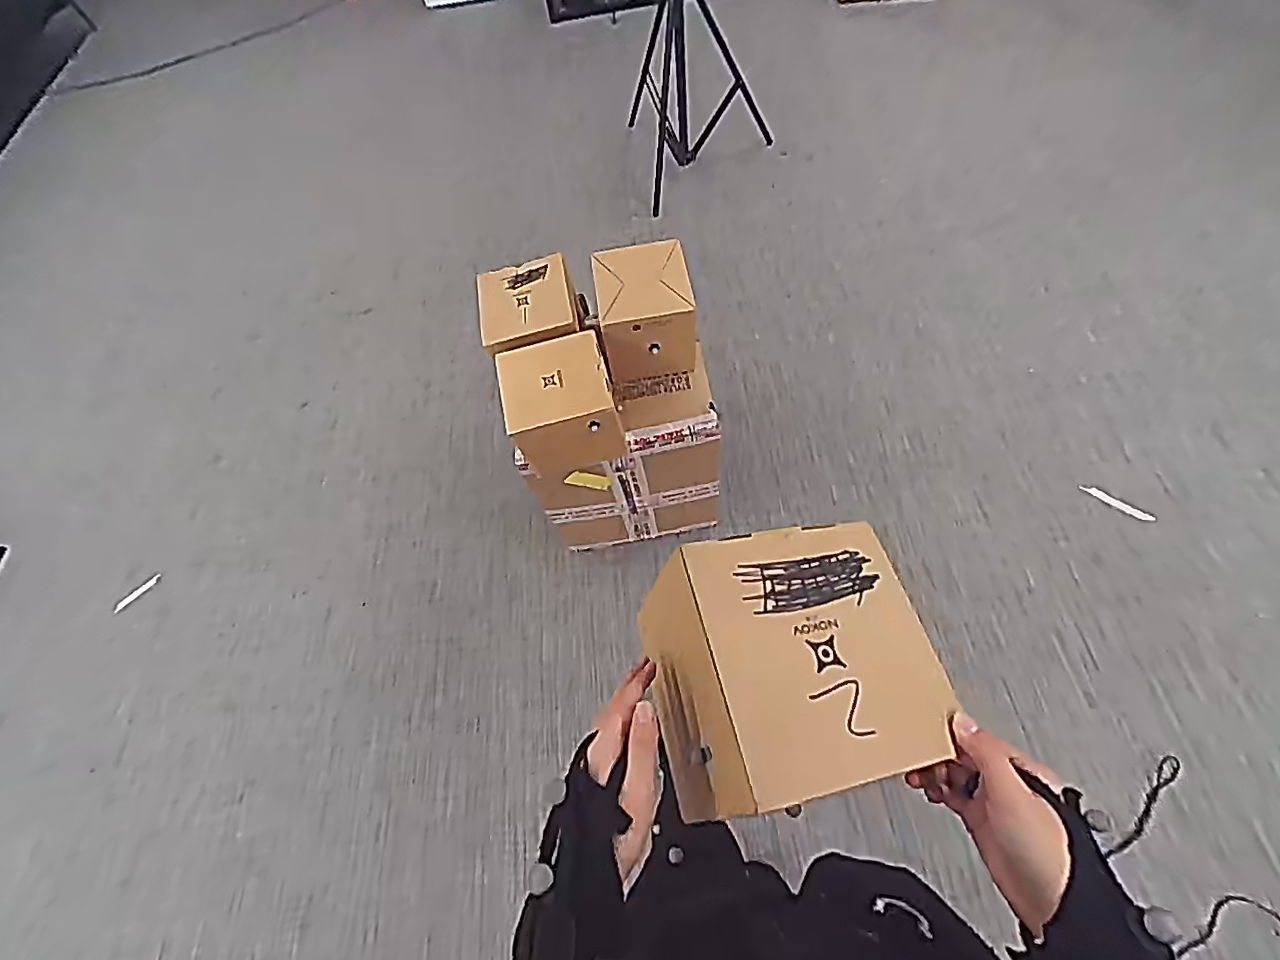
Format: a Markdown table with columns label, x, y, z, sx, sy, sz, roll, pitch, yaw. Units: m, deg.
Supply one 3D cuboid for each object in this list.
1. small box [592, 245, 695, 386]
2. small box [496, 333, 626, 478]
| label | x | y | z | sx | sy | sz | roll | pitch | yaw |
| --- | --- | --- | --- | --- | --- | --- | --- | --- | --- |
| small box | 0.008 | -0.308 | 1.019 | 0.168 | 0.176 | 0.179 | -9 | 63 | -1 |
| small box | -0.135 | -0.123 | 0.952 | 0.179 | 0.176 | 0.168 | -15 | 64 | -1 |
